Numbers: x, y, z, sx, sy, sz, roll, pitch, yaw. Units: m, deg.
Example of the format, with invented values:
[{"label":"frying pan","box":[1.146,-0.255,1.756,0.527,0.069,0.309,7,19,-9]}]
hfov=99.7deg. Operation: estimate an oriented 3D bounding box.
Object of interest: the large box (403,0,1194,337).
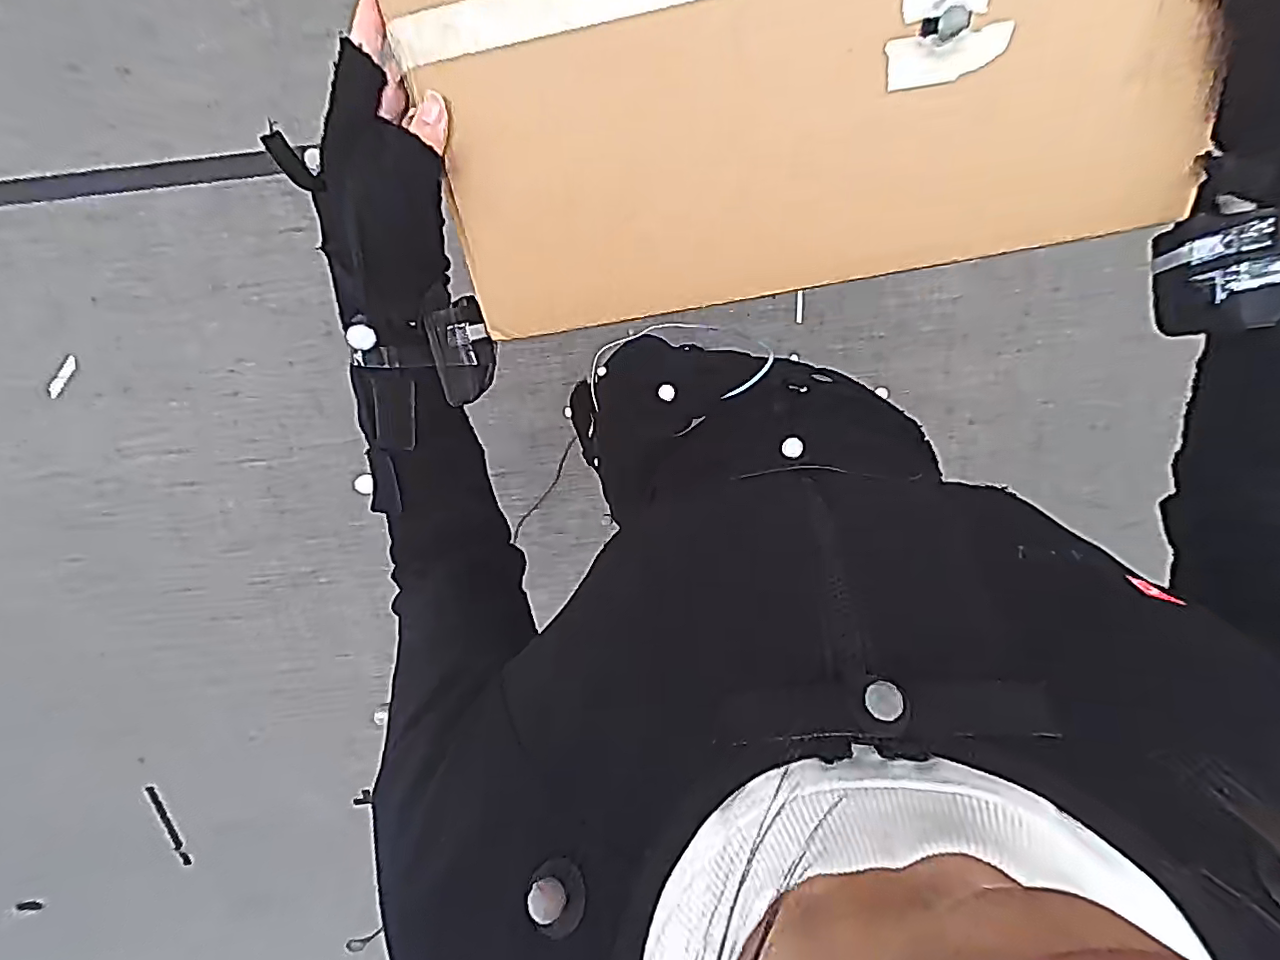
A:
[{"label":"large box","box":[0.077,-0.327,0.405,0.408,0.320,0.320,-9,117,6]}]
